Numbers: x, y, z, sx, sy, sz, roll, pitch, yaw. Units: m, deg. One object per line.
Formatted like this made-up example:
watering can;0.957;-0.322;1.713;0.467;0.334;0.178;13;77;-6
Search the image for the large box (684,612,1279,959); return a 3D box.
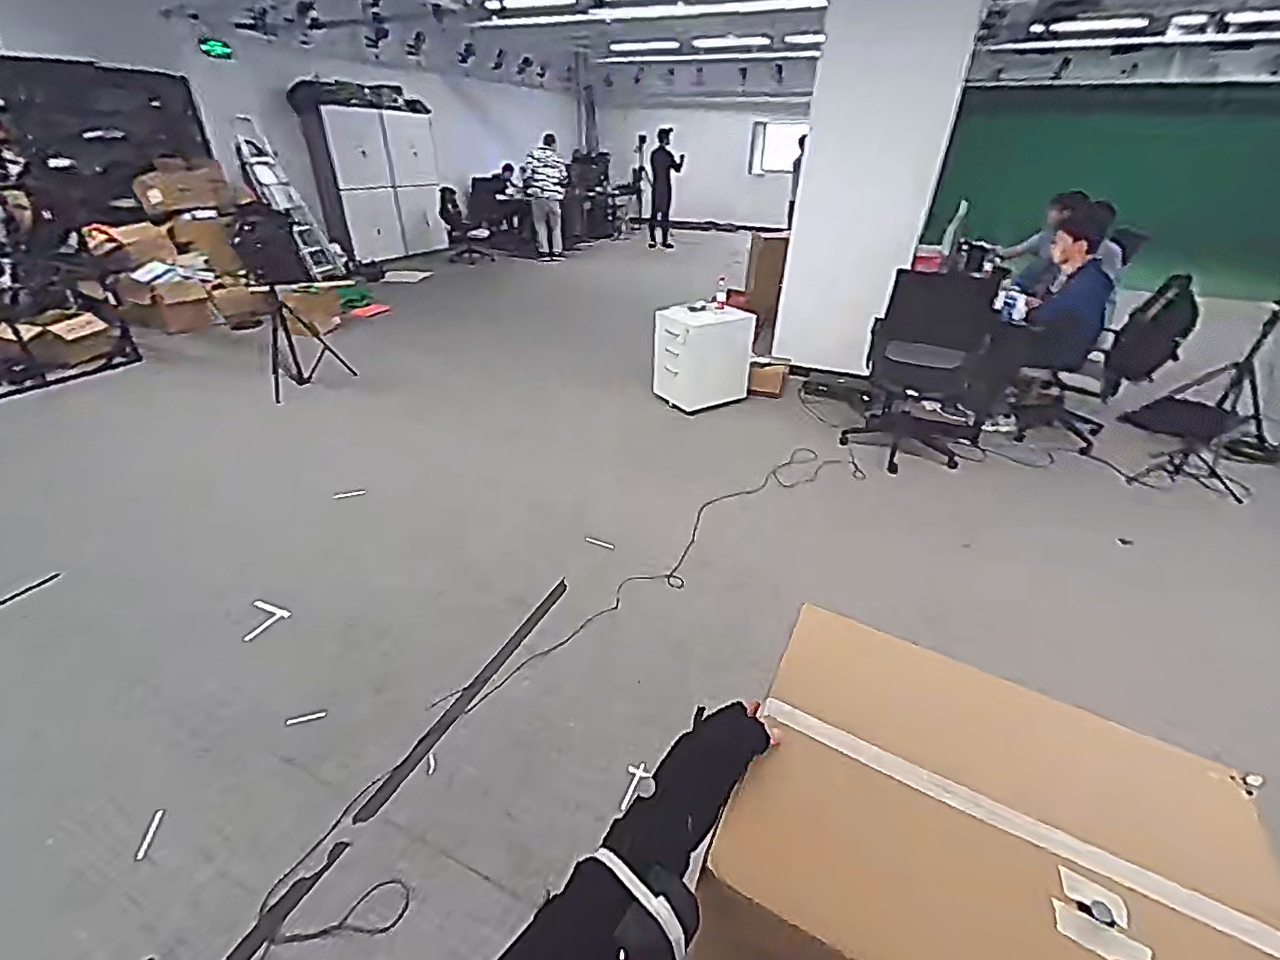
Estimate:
large box;0.296;0.411;0.557;0.408;0.320;0.320;20;40;22
